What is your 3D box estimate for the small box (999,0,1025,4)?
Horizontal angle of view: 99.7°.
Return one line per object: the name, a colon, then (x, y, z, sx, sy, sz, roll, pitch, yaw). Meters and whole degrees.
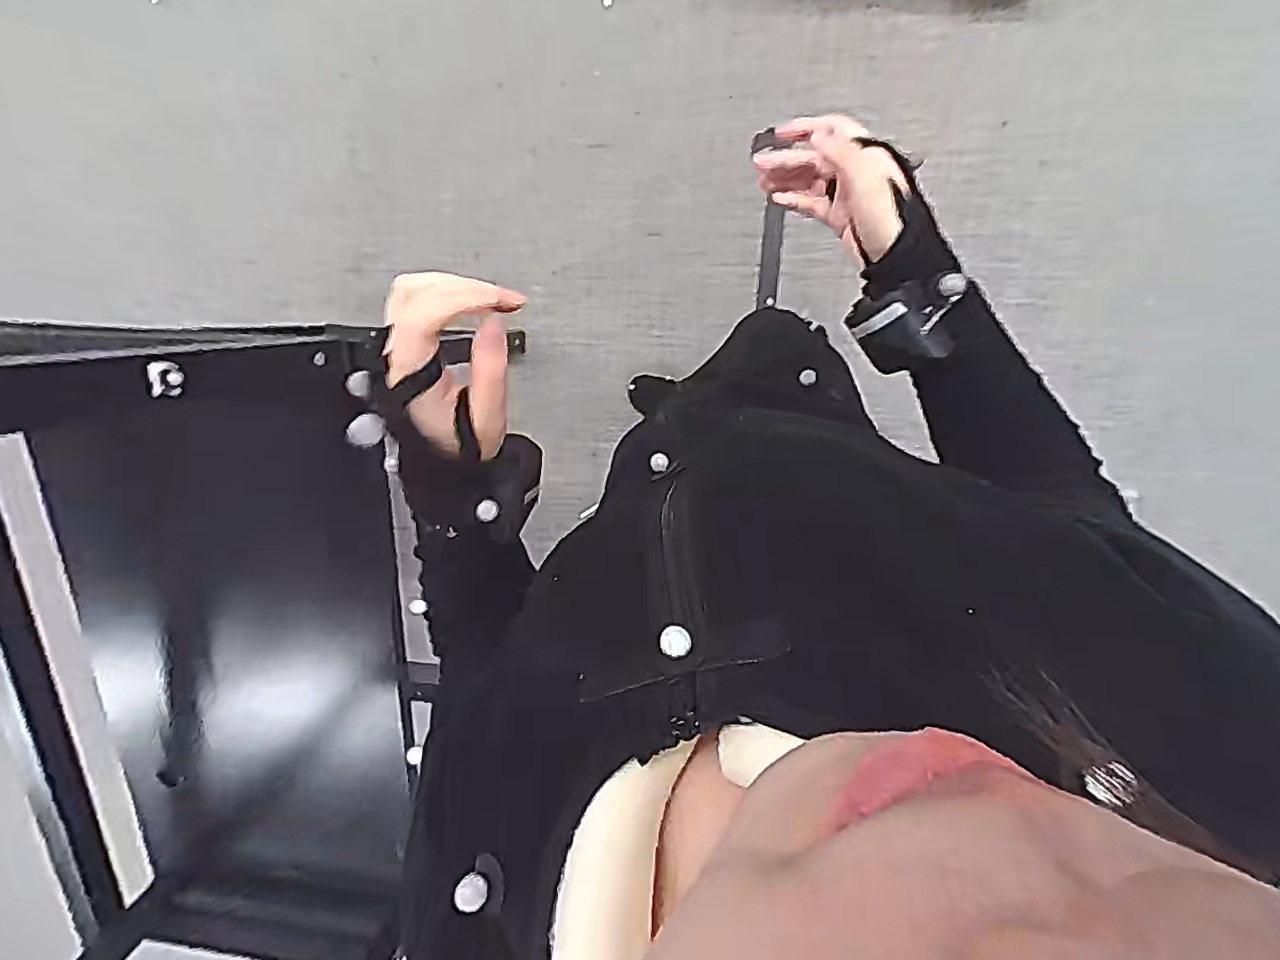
small box: (0.725, -1.060, 1.031, 0.168, 0.176, 0.179, 9, 106, 4)
